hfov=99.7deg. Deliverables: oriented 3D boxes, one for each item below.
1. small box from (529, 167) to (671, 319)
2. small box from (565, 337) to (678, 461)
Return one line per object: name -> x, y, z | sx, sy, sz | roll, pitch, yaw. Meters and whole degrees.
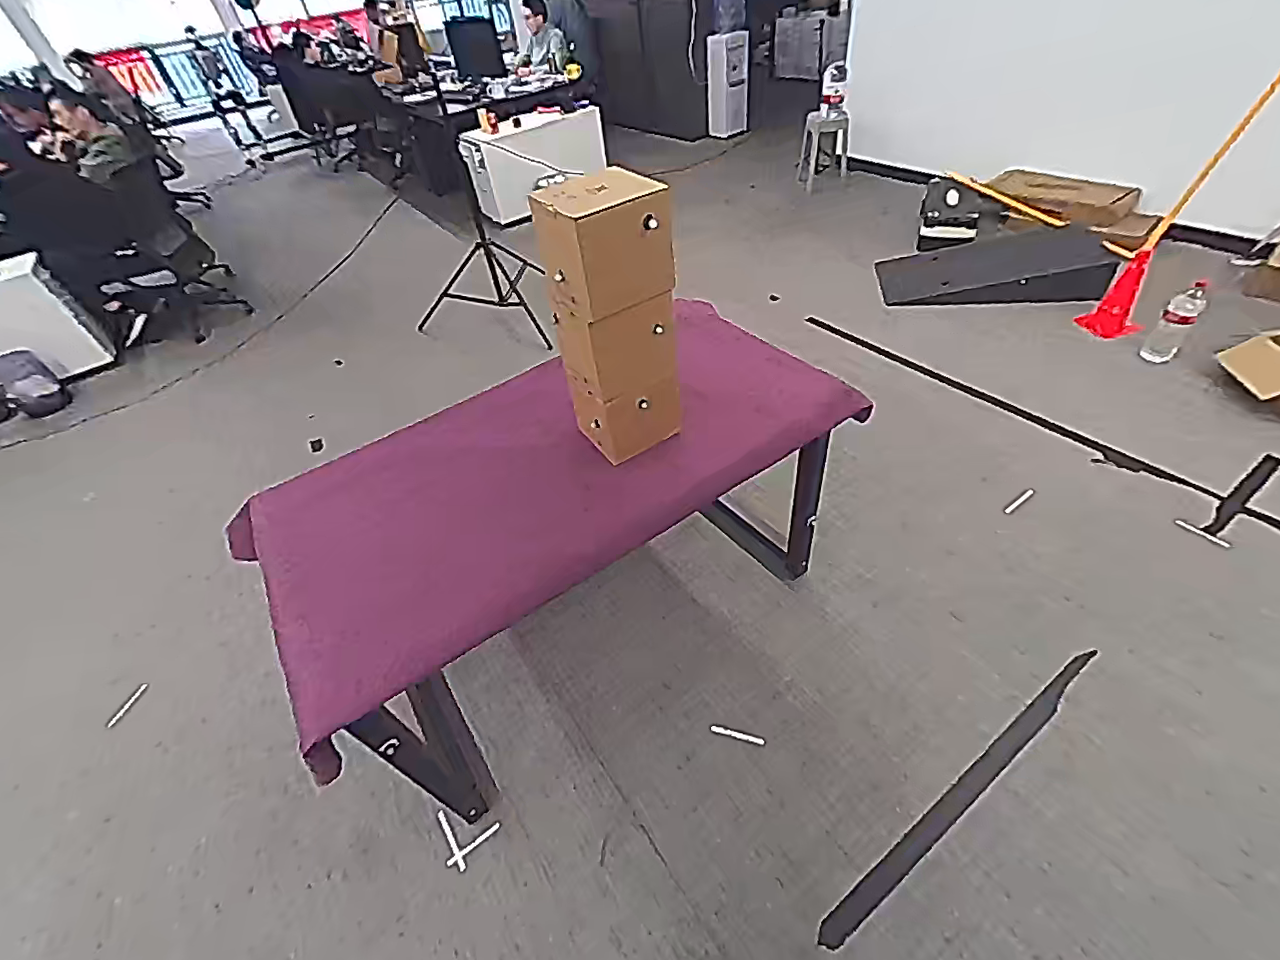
small box -> -0.061, -0.402, 0.916 | 0.179, 0.176, 0.168 | -30, 48, -19
small box -> -0.033, -0.169, 1.148 | 0.179, 0.176, 0.168 | -29, 49, -19
